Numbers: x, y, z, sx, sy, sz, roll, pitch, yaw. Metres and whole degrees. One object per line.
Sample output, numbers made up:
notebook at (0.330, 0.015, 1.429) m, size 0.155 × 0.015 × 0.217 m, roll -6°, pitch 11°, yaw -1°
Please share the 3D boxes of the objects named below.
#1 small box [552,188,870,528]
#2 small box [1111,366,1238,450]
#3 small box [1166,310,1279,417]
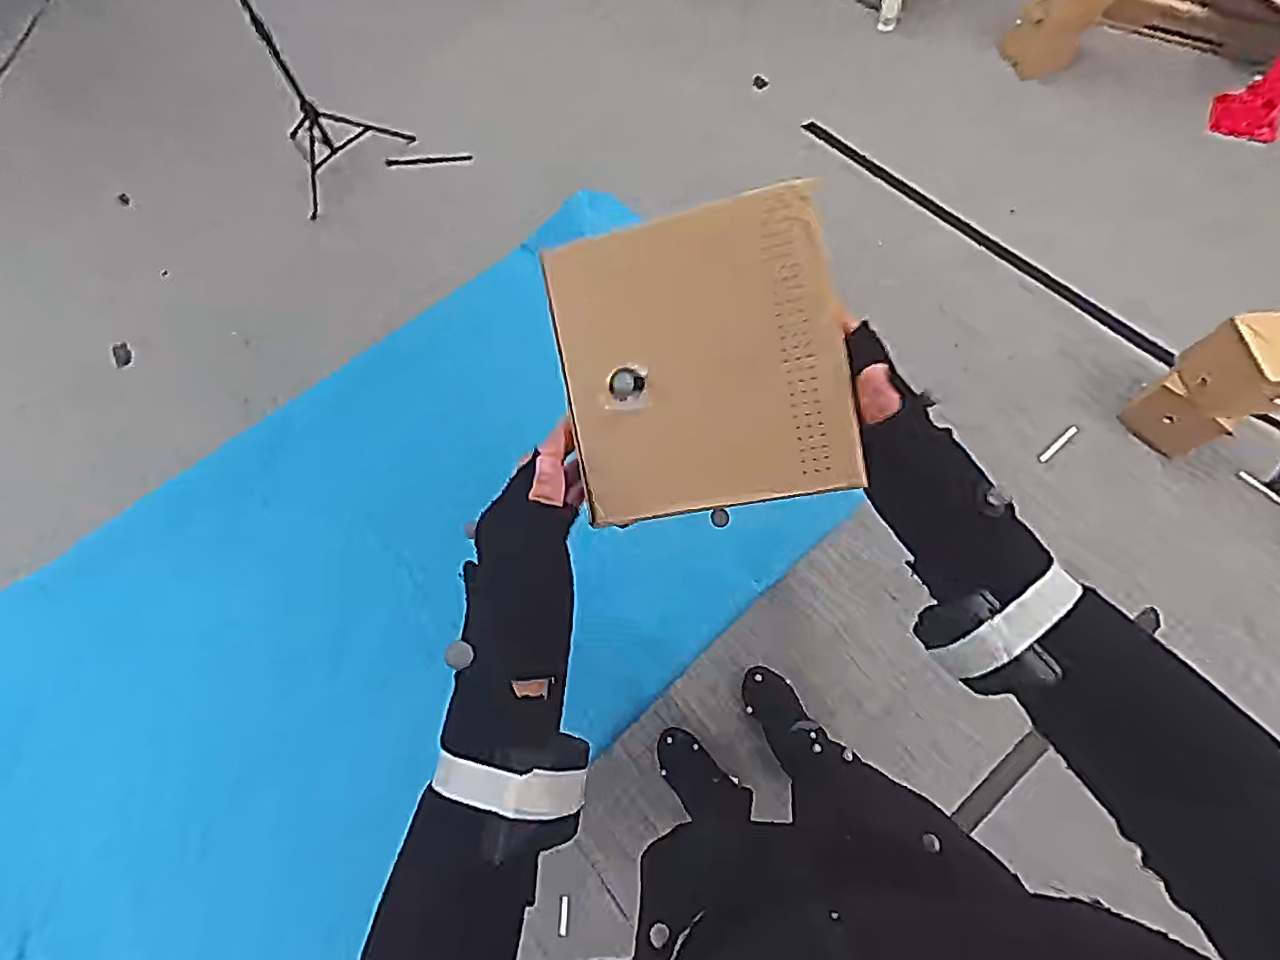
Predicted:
small box at (0.055, -0.073, 0.388) m, size 0.176 × 0.168 × 0.179 m, roll -8°, pitch 93°, yaw 9°
small box at (1.410, -0.201, 1.412) m, size 0.168 × 0.176 × 0.179 m, roll -37°, pitch 70°, yaw -11°
small box at (1.410, -0.268, 1.258) m, size 0.168 × 0.176 × 0.179 m, roll -4°, pitch 68°, yaw 2°
